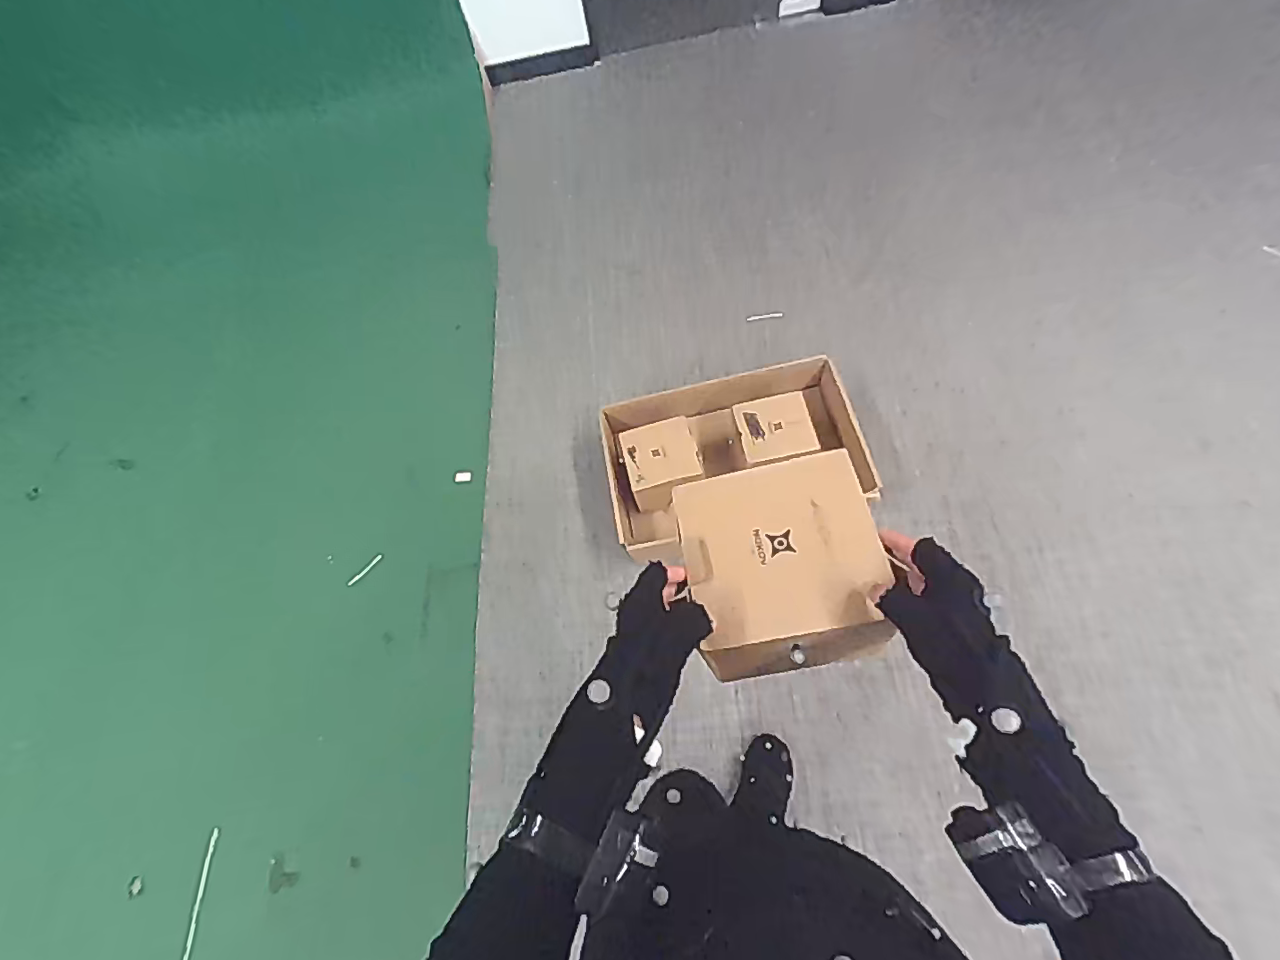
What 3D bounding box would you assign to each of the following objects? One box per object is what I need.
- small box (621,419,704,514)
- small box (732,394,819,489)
[{"bbox_3d":[0.060,-0.029,1.386,0.179,0.176,0.168,-14,65,1],"label":"small box"},{"bbox_3d":[0.335,-0.090,1.369,0.179,0.176,0.168,-11,66,4],"label":"small box"}]
